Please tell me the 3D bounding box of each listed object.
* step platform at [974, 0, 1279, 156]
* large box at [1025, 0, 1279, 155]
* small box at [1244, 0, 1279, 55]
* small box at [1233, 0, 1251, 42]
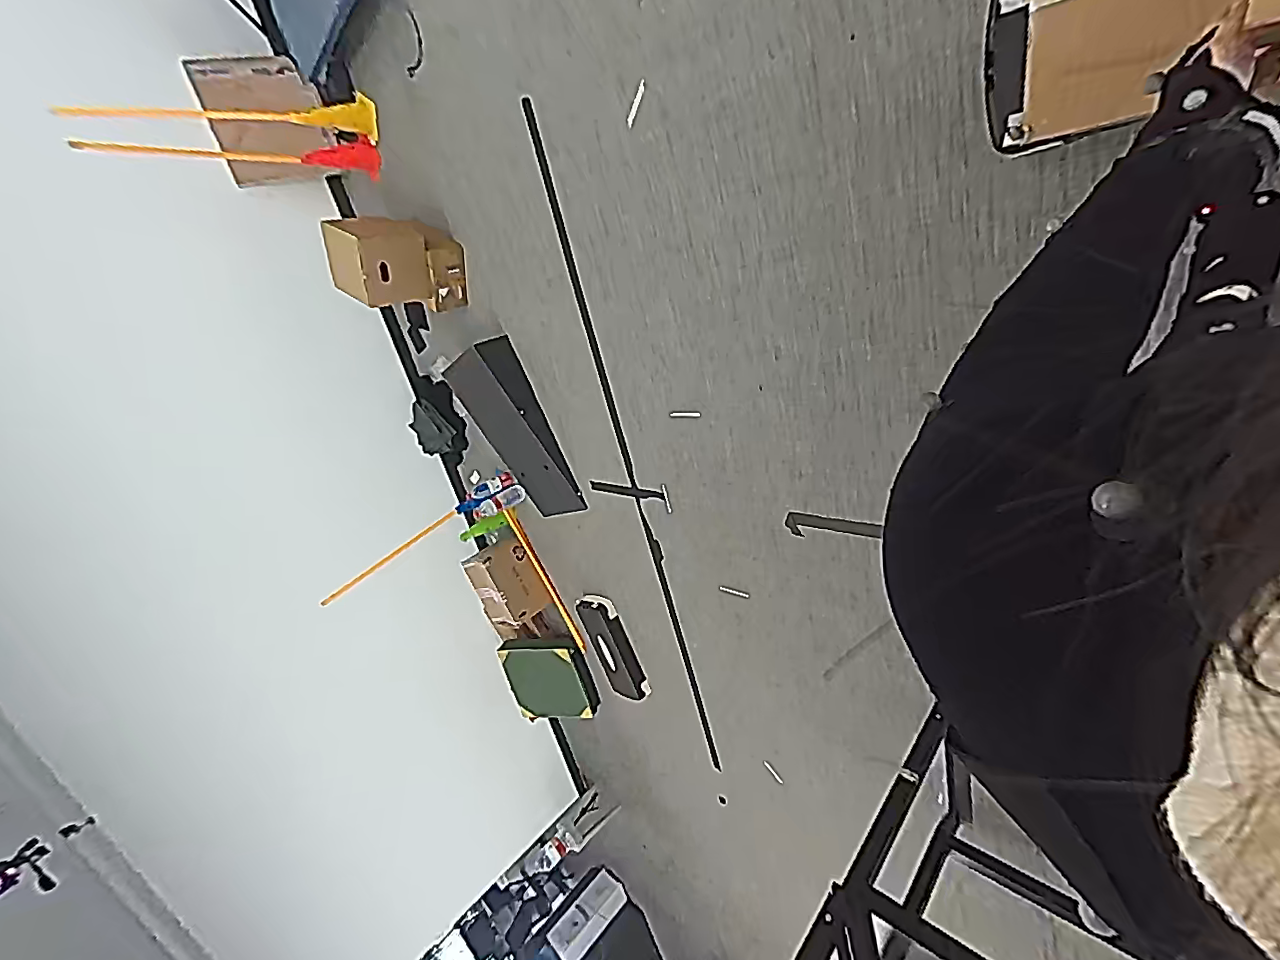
[{"bbox_3d":[0.883,-0.699,0.781,0.684,0.204,0.286,15,125,44],"label":"step platform"},{"bbox_3d":[0.730,-0.611,0.620,0.408,0.320,0.320,12,122,46],"label":"large box"},{"bbox_3d":[0.509,-0.387,0.322,0.179,0.176,0.168,13,122,44],"label":"small box"},{"bbox_3d":[0.621,-0.477,0.426,0.179,0.176,0.168,16,126,44],"label":"small box"}]
